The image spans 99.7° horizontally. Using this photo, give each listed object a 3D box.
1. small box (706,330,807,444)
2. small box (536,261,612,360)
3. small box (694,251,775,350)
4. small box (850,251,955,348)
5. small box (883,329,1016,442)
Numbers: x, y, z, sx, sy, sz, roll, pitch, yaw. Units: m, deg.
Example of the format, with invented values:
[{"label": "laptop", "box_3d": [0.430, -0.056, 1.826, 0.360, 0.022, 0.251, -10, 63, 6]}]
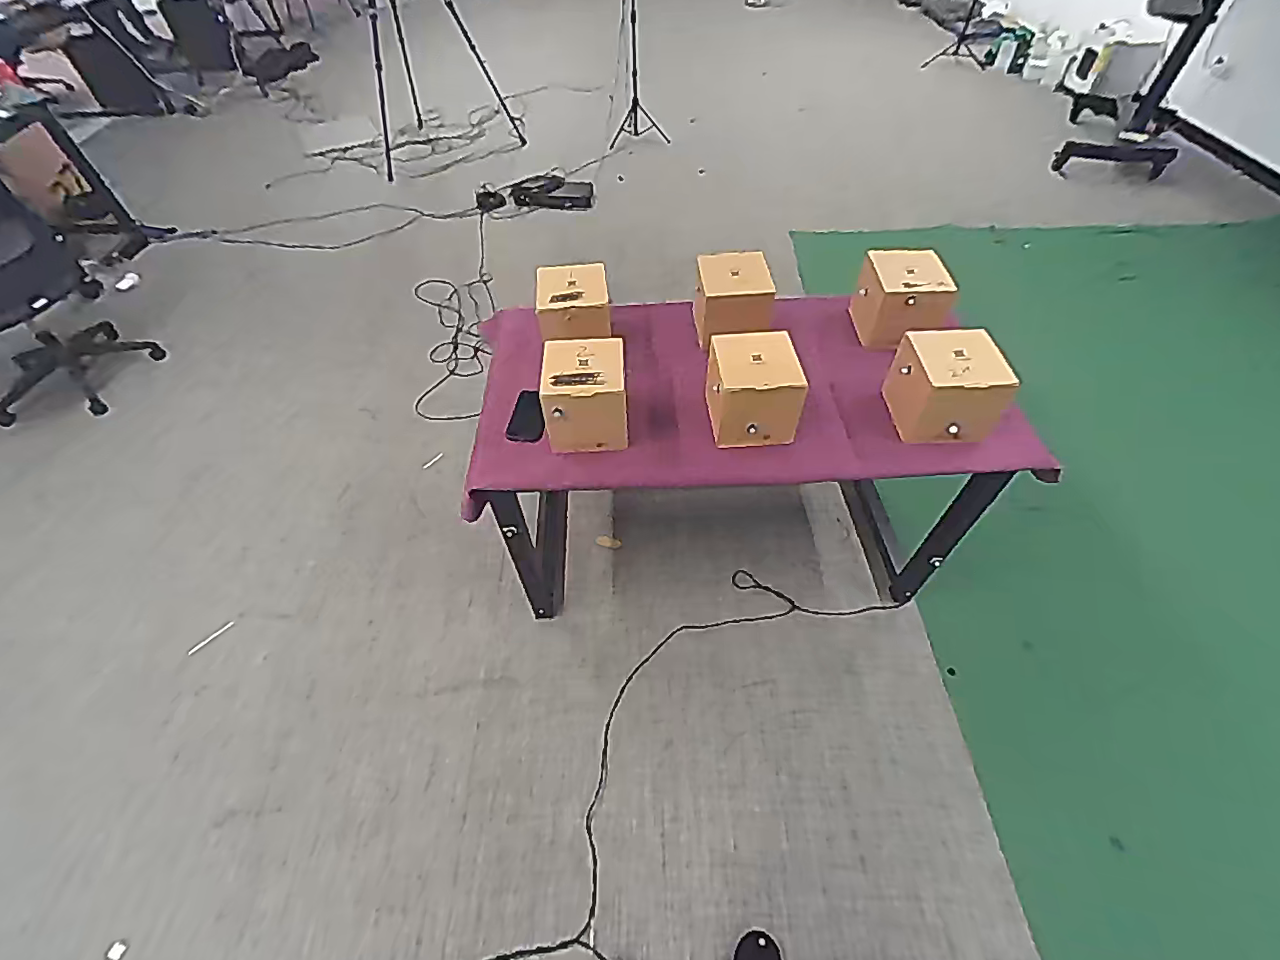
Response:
[{"label": "small box", "box_3d": [0.238, -0.198, 1.157, 0.168, 0.176, 0.179, -4, 52, -2]}, {"label": "small box", "box_3d": [-0.159, -0.410, 1.329, 0.168, 0.176, 0.179, -5, 52, -3]}, {"label": "small box", "box_3d": [0.227, -0.448, 1.353, 0.168, 0.176, 0.179, -3, 53, 0]}, {"label": "small box", "box_3d": [0.638, -0.447, 1.342, 0.168, 0.176, 0.179, -1, 52, 2]}, {"label": "small box", "box_3d": [0.638, -0.199, 1.144, 0.168, 0.176, 0.179, -1, 52, 2]}]
